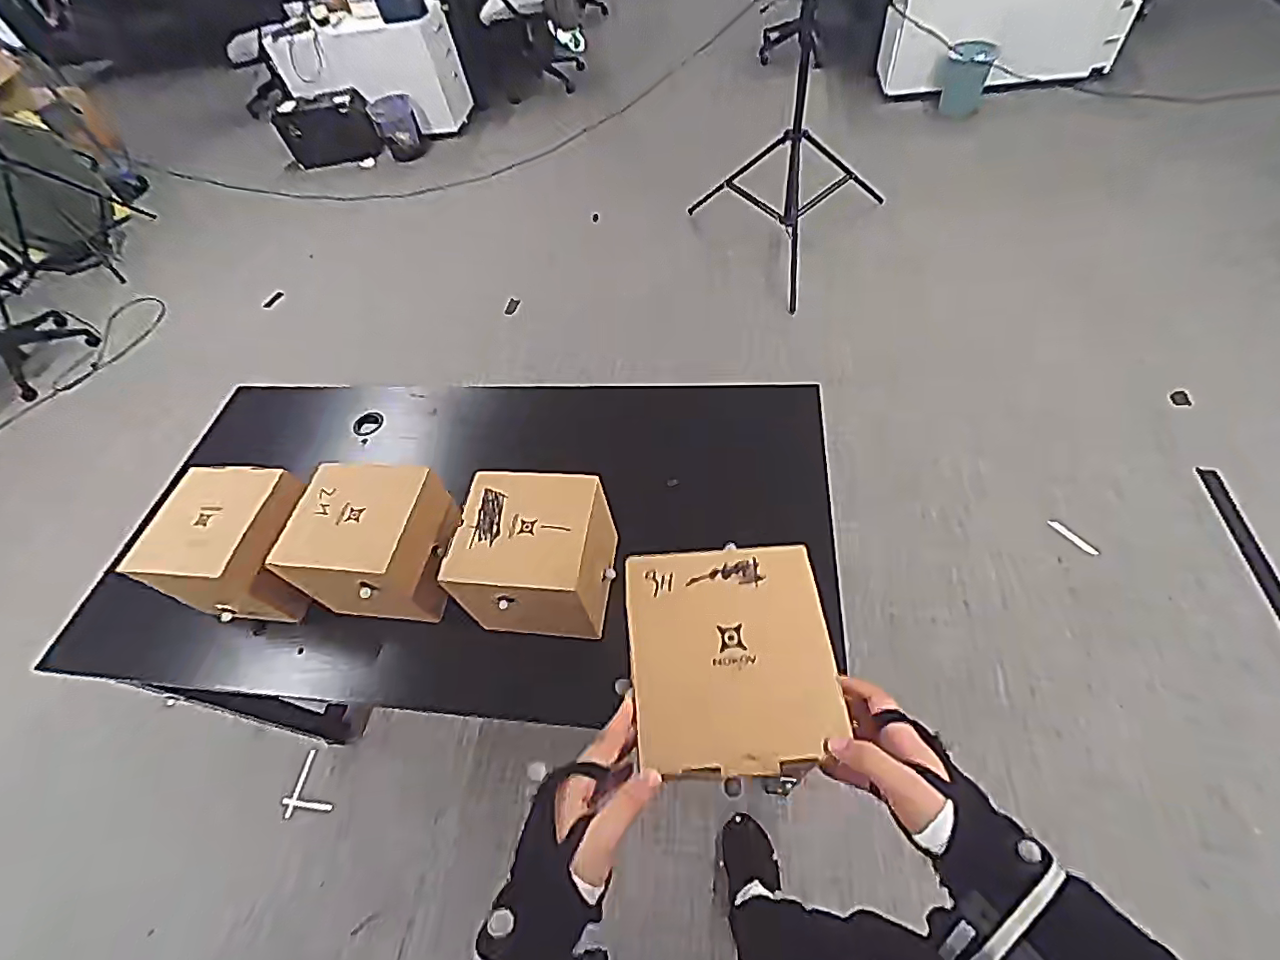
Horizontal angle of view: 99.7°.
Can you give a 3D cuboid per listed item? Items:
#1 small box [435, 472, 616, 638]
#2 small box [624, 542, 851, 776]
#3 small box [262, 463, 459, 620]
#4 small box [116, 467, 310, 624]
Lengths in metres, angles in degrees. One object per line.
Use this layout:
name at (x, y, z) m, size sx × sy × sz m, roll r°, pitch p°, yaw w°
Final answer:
small box at (-0.141, 0.105, 0.739) m, size 0.179 × 0.176 × 0.168 m, roll 3°, pitch 56°, yaw 9°
small box at (0.072, 0.173, 0.508) m, size 0.168 × 0.176 × 0.179 m, roll -3°, pitch 61°, yaw -3°
small box at (-0.378, 0.093, 0.783) m, size 0.179 × 0.176 × 0.168 m, roll 2°, pitch 55°, yaw 10°
small box at (-0.596, 0.099, 0.813) m, size 0.168 × 0.176 × 0.179 m, roll 0°, pitch 56°, yaw 10°
